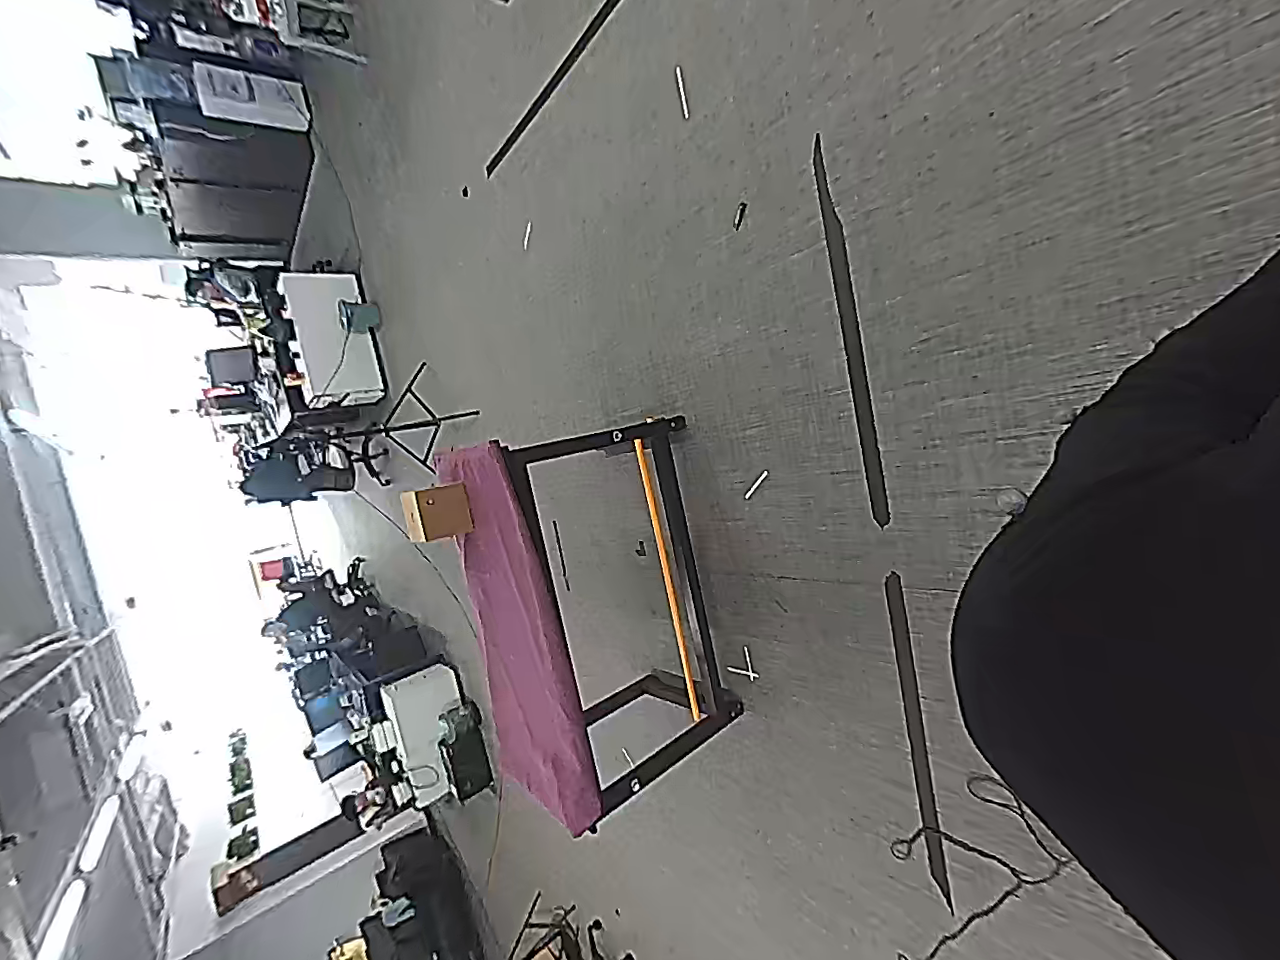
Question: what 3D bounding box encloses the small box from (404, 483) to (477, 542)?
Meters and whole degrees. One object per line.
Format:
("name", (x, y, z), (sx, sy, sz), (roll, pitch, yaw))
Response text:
("small box", (-0.687, 0.108, 1.866), (0.168, 0.176, 0.179), (-7, 97, 52))
